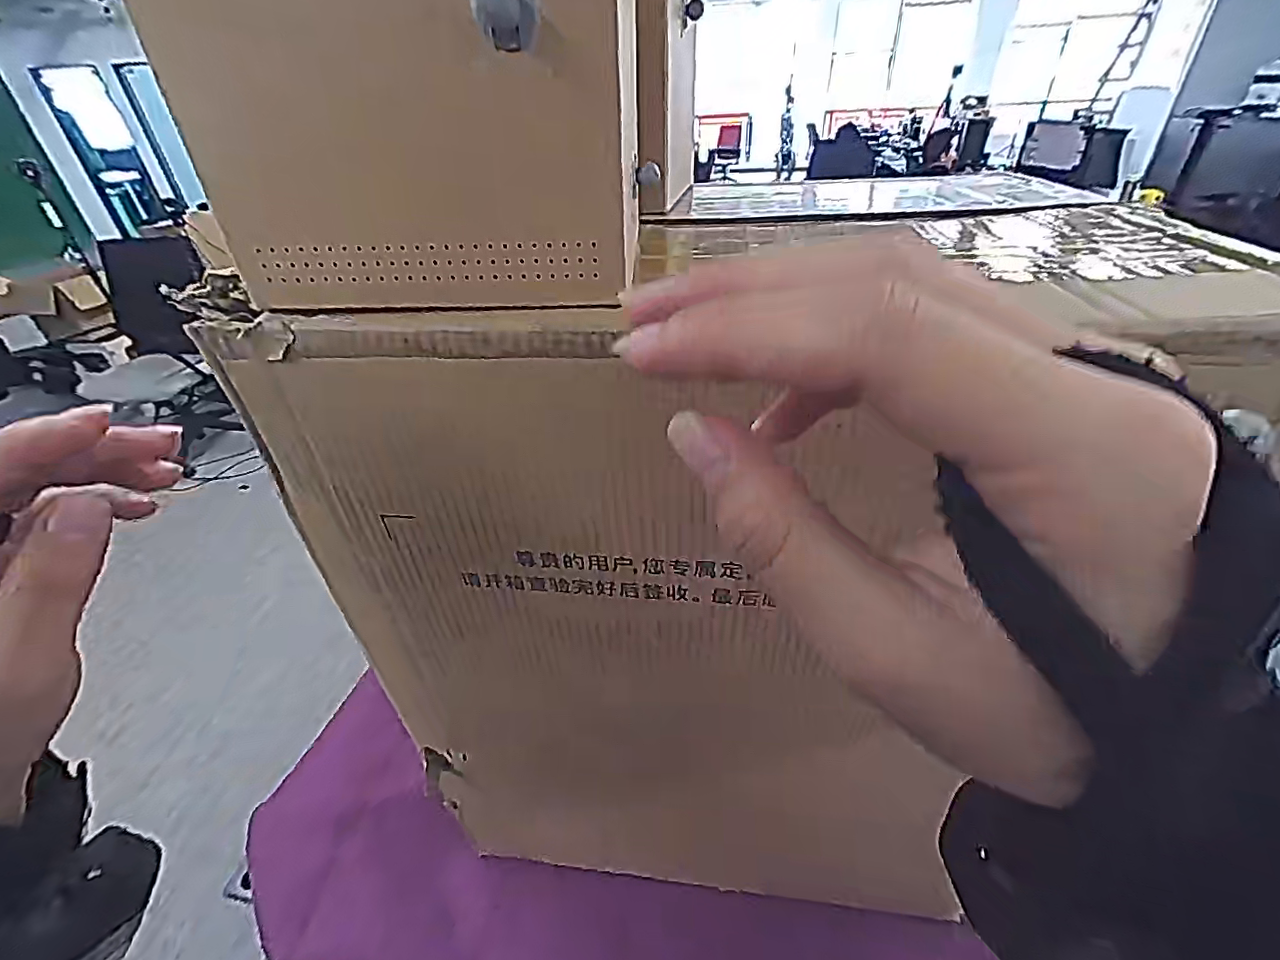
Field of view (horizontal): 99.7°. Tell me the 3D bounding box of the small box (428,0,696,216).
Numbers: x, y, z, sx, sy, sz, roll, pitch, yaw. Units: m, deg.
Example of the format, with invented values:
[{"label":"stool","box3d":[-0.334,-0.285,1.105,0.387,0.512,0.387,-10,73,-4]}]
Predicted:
[{"label":"small box","box3d":[-0.044,-0.321,0.443,0.168,0.176,0.179,5,35,10]}]
